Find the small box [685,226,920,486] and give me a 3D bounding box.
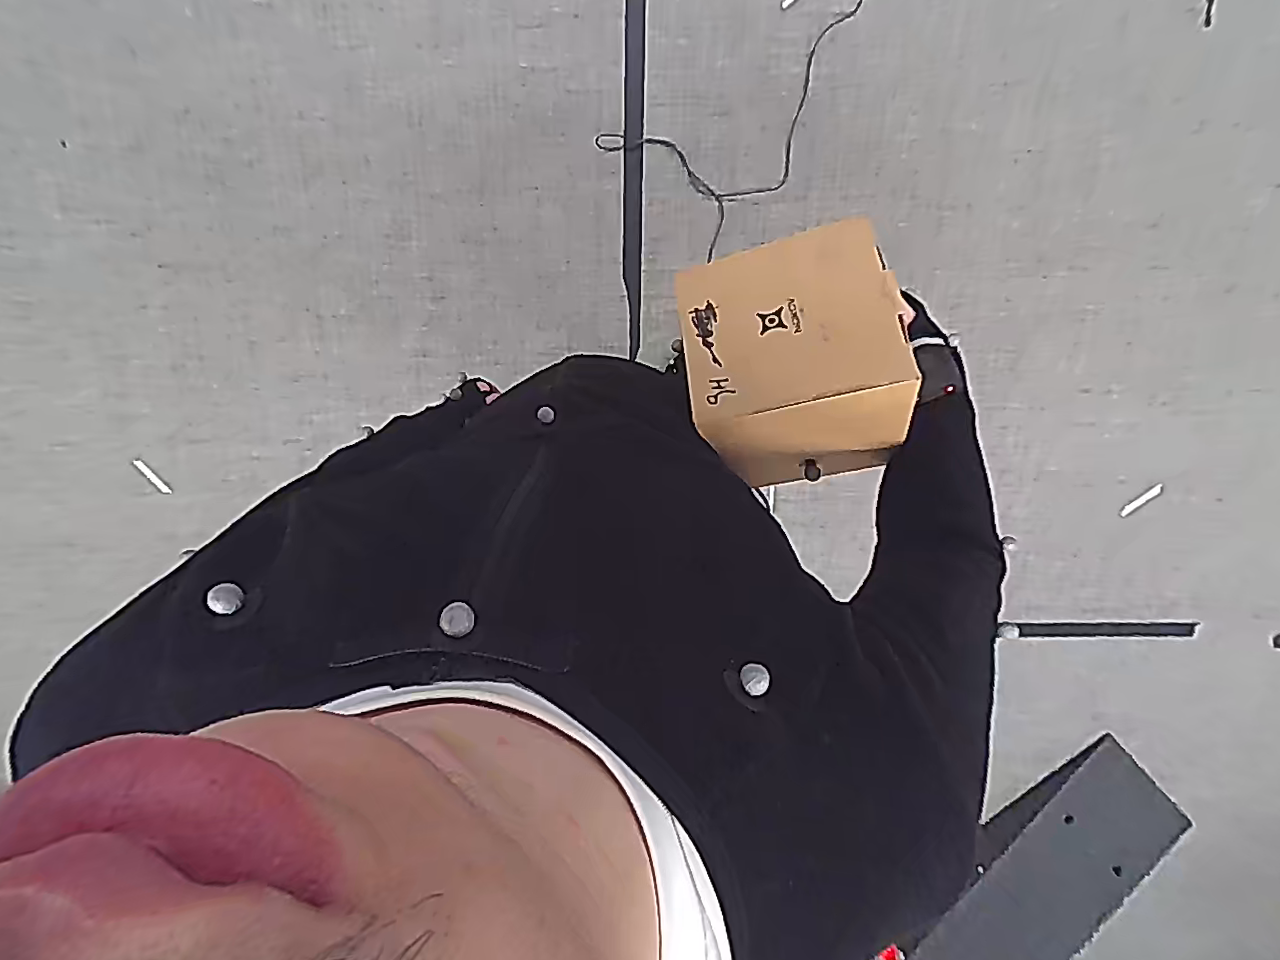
[{"bbox_3d":[0.154,-0.108,0.540,0.179,0.176,0.168,-11,65,15],"label":"small box"}]
